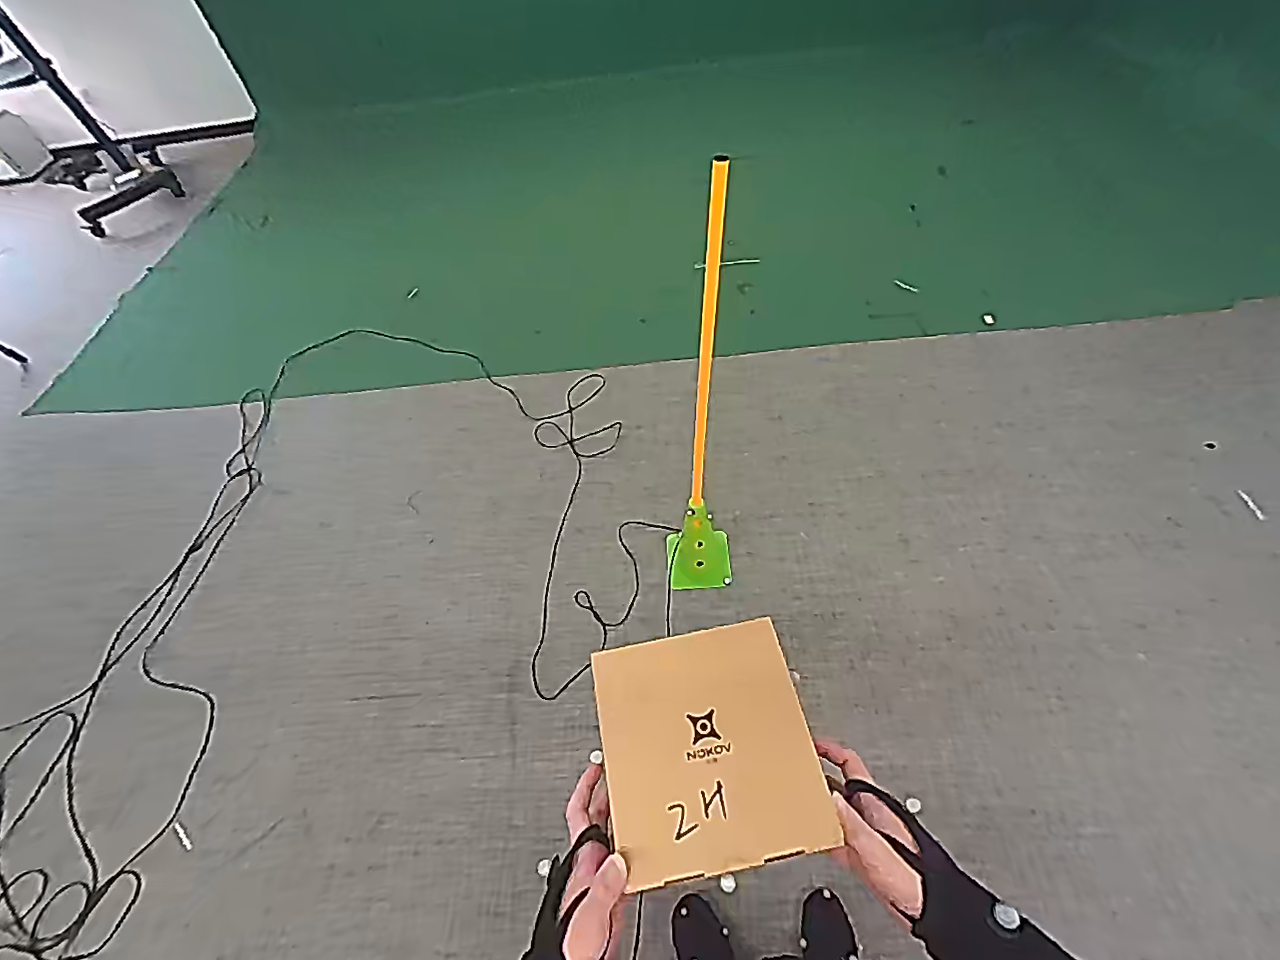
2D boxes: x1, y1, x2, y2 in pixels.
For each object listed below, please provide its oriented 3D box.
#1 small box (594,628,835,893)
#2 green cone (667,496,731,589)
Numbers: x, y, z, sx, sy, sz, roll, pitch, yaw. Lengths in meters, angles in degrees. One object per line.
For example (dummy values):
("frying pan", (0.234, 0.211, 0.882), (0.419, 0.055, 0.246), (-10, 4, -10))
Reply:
("small box", (0.055, 0.262, 0.503), (0.168, 0.176, 0.179), (-10, 55, -2))
("green cone", (0.169, 0.158, 1.620), (0.202, 0.368, 0.200), (-5, 54, 5))
